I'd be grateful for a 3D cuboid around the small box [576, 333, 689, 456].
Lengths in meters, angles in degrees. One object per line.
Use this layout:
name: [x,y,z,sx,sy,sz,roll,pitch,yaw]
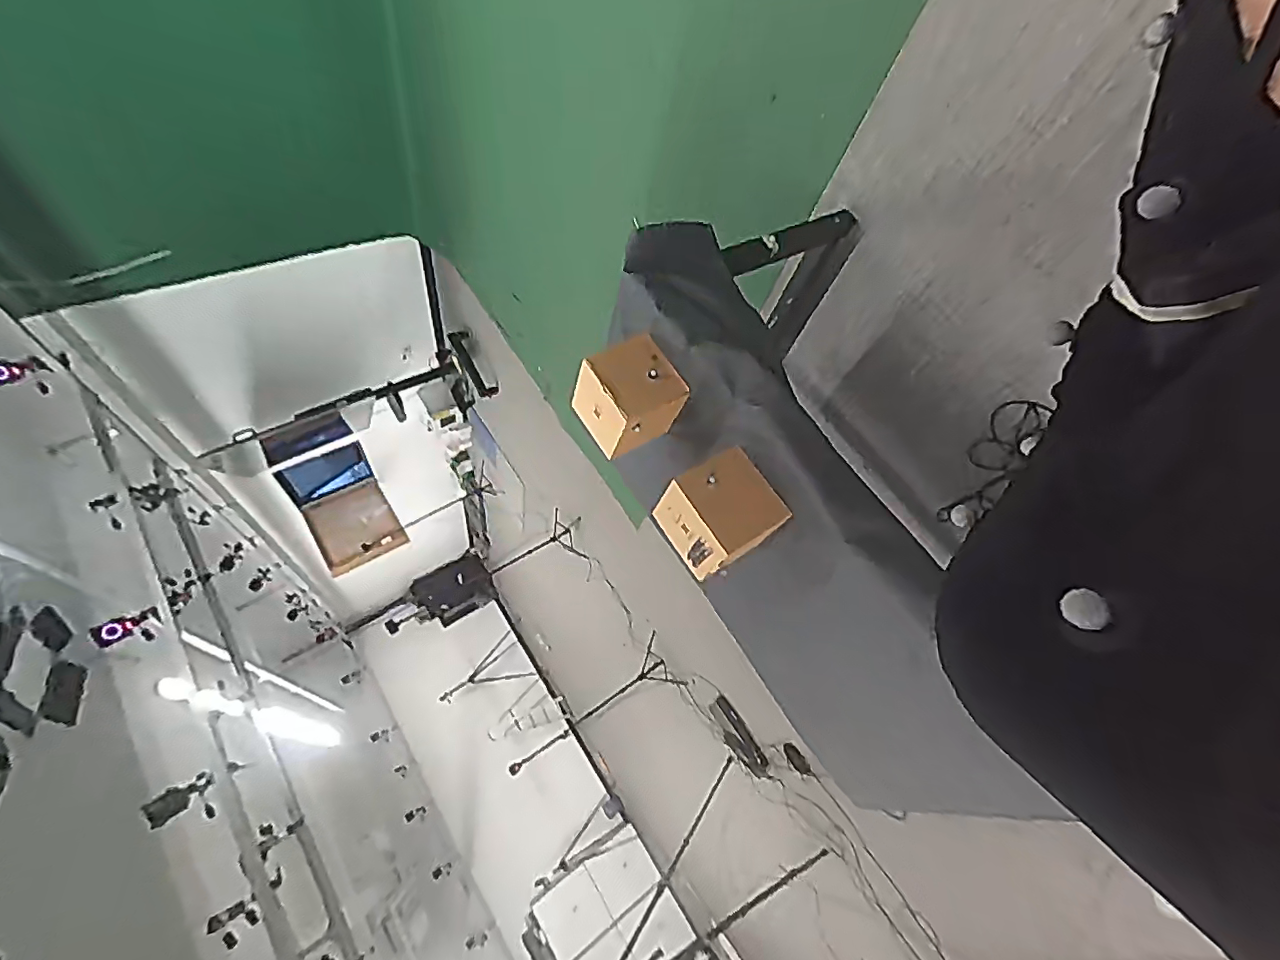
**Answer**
small box: [-0.018,-0.186,1.176,0.168,0.176,0.179,55,154,13]
